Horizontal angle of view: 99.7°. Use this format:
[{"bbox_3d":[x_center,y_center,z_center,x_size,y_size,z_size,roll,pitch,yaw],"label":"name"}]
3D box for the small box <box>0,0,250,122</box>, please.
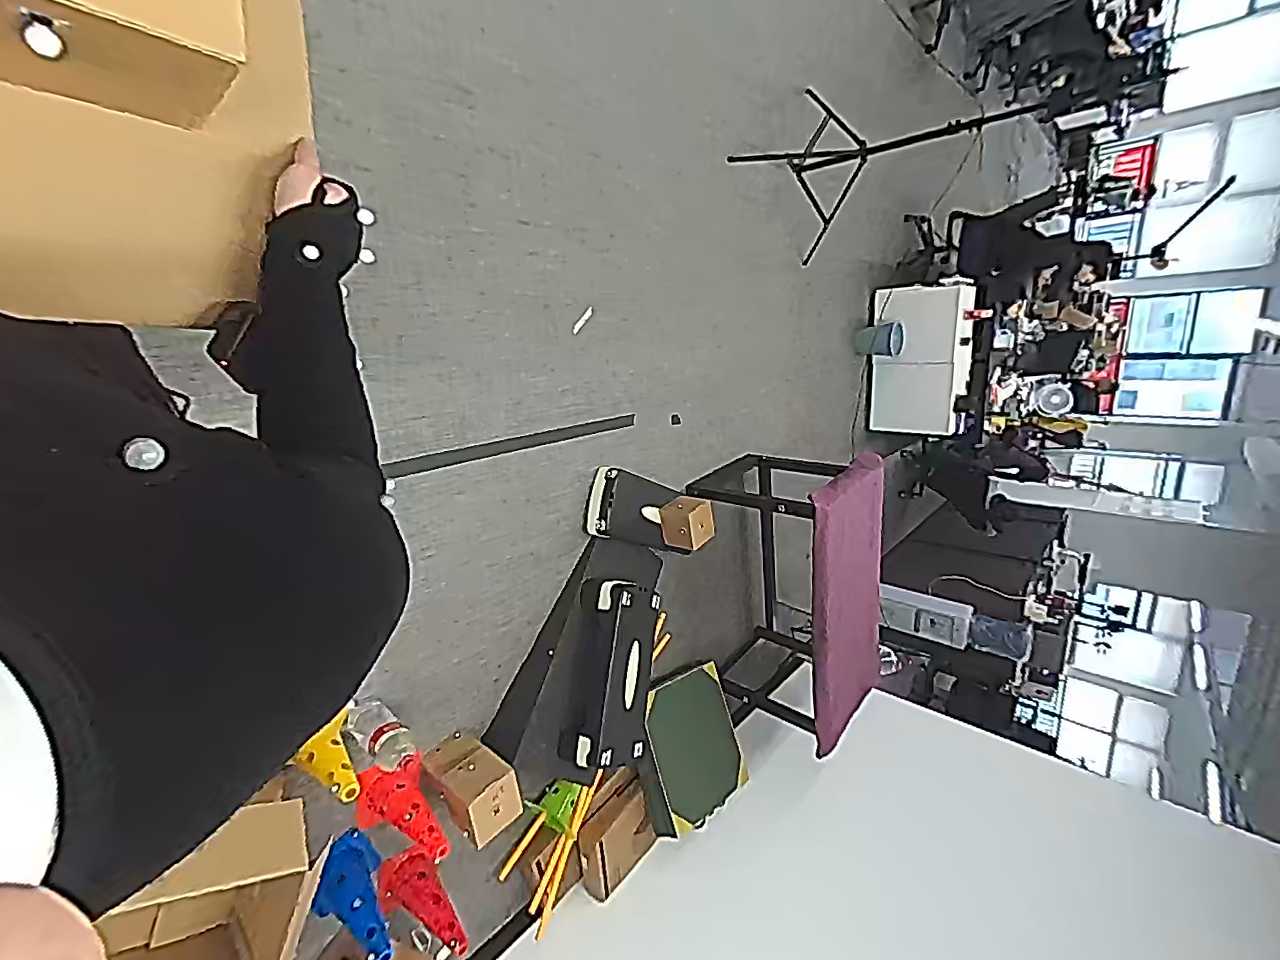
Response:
[{"bbox_3d":[-0.386,-0.364,0.352,0.179,0.176,0.168,-11,107,-45],"label":"small box"}]
